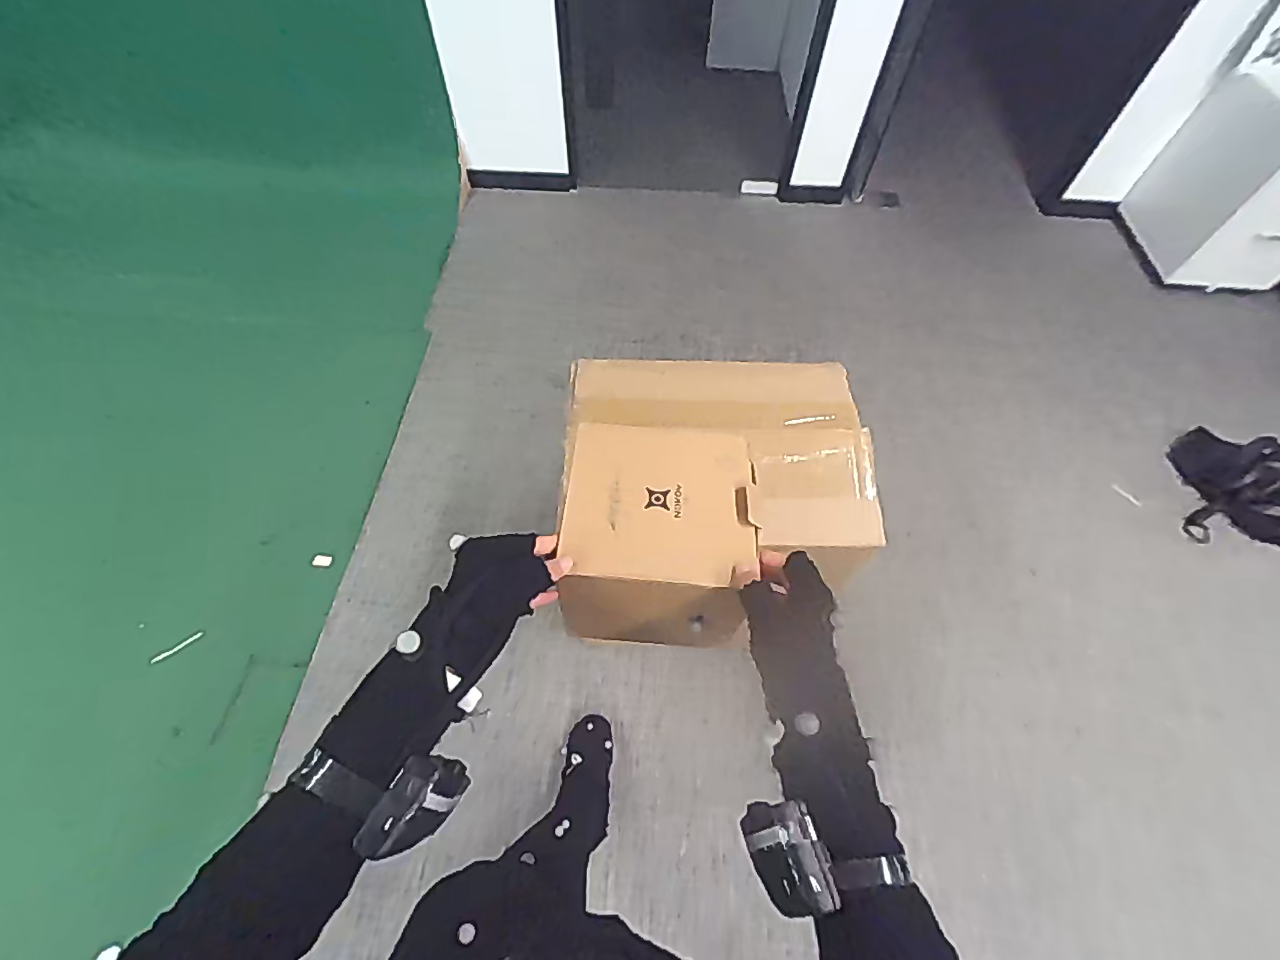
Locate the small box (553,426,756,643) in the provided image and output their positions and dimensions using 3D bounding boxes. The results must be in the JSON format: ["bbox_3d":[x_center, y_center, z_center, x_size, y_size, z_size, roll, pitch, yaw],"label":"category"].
[{"bbox_3d":[0.014,0.063,0.569,0.179,0.176,0.168,3,55,0],"label":"small box"}]
